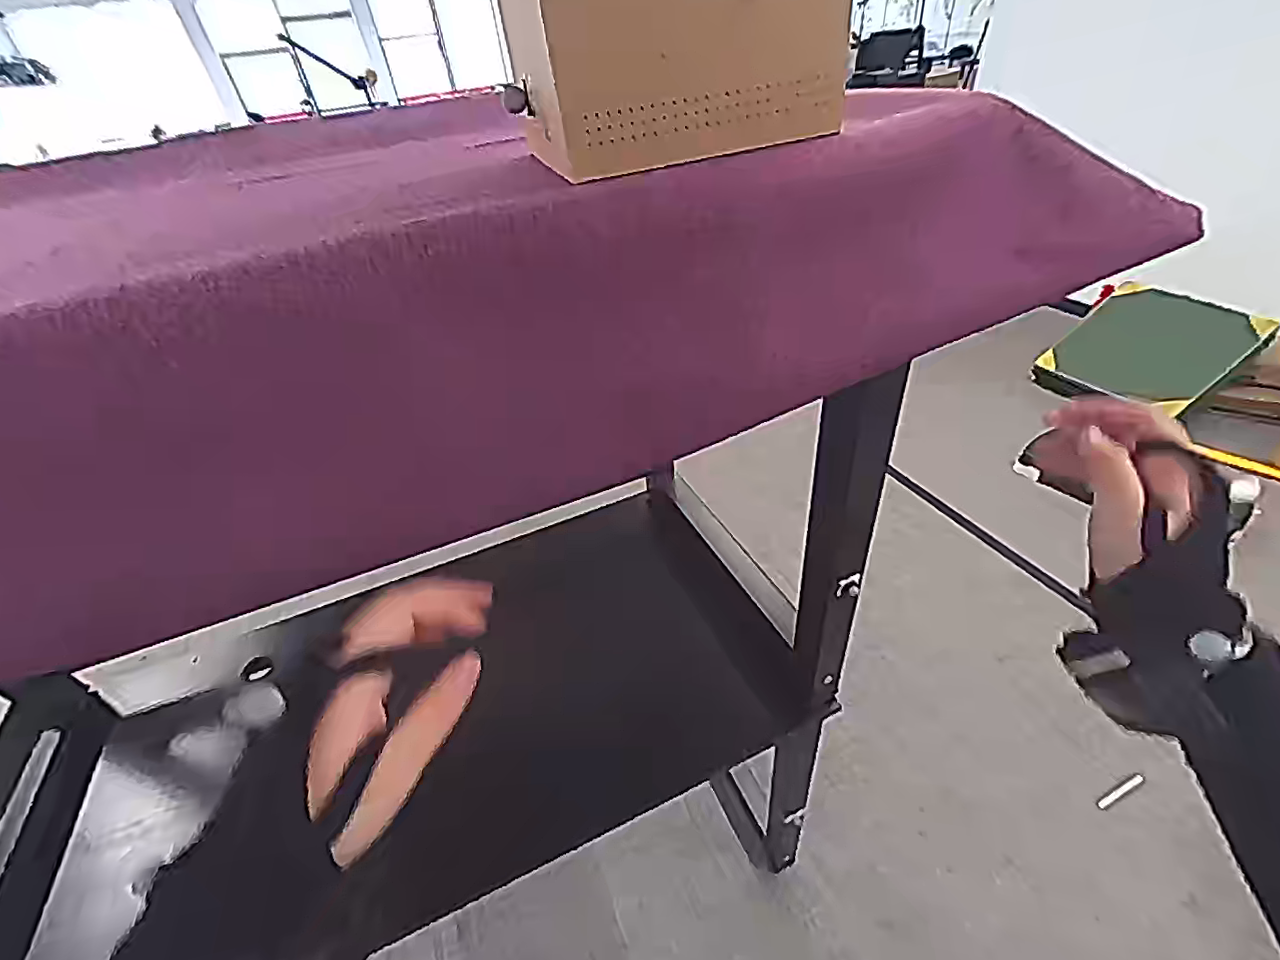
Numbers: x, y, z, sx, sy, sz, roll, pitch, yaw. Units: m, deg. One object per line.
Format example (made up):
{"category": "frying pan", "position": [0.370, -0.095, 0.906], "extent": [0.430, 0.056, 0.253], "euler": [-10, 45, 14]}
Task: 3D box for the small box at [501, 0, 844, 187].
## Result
{"category": "small box", "position": [0.010, -0.295, 0.327], "extent": [0.179, 0.176, 0.168], "euler": [-17, 38, -10]}
